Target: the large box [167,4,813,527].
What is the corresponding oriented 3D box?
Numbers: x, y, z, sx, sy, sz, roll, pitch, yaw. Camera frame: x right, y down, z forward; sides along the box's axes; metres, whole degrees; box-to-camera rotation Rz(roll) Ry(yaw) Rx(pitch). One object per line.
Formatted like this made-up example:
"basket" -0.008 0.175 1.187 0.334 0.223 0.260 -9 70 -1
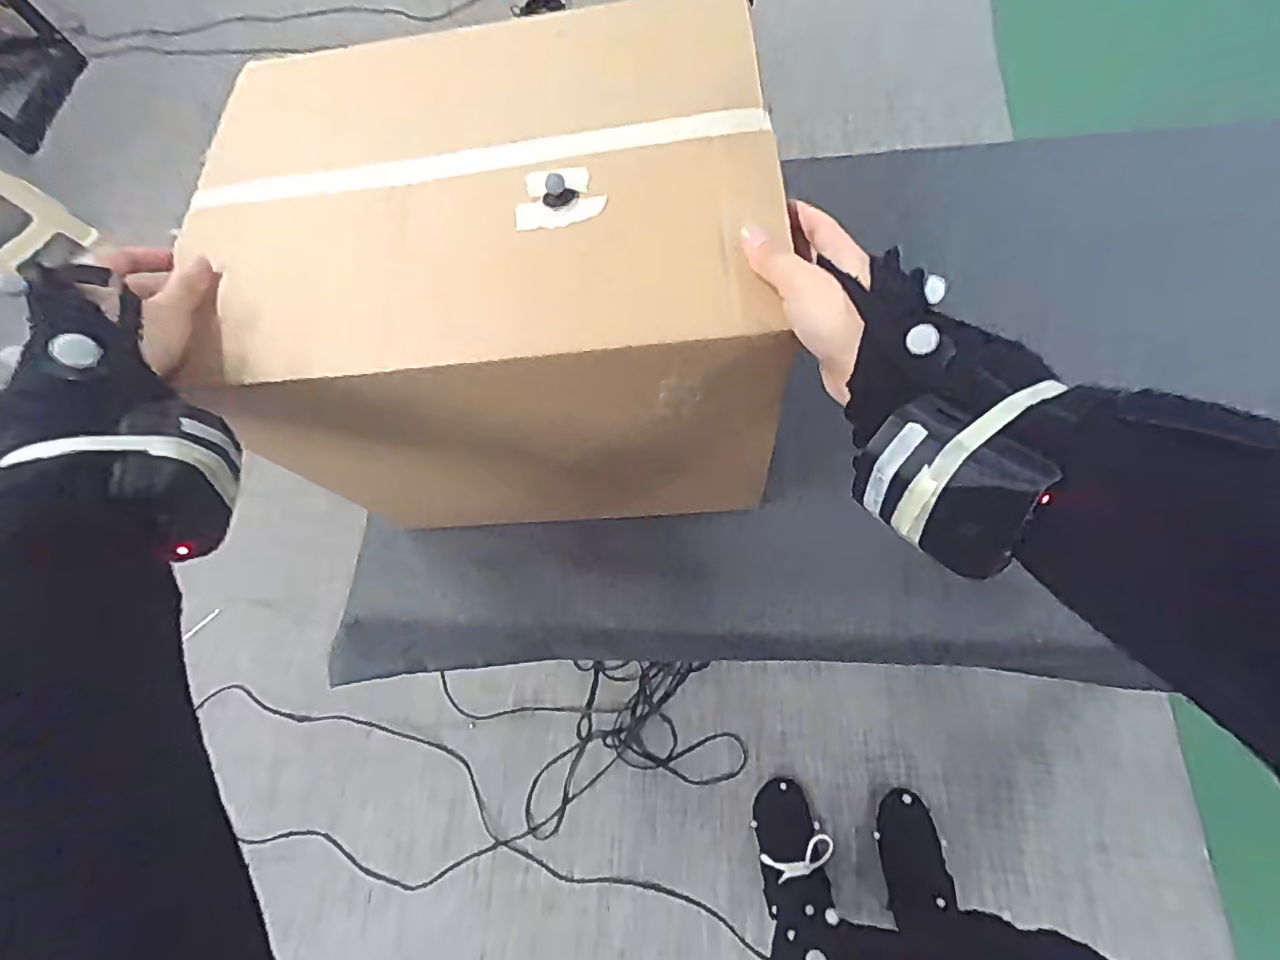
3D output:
"large box" -0.090 -0.155 0.512 0.408 0.320 0.320 -4 69 5
